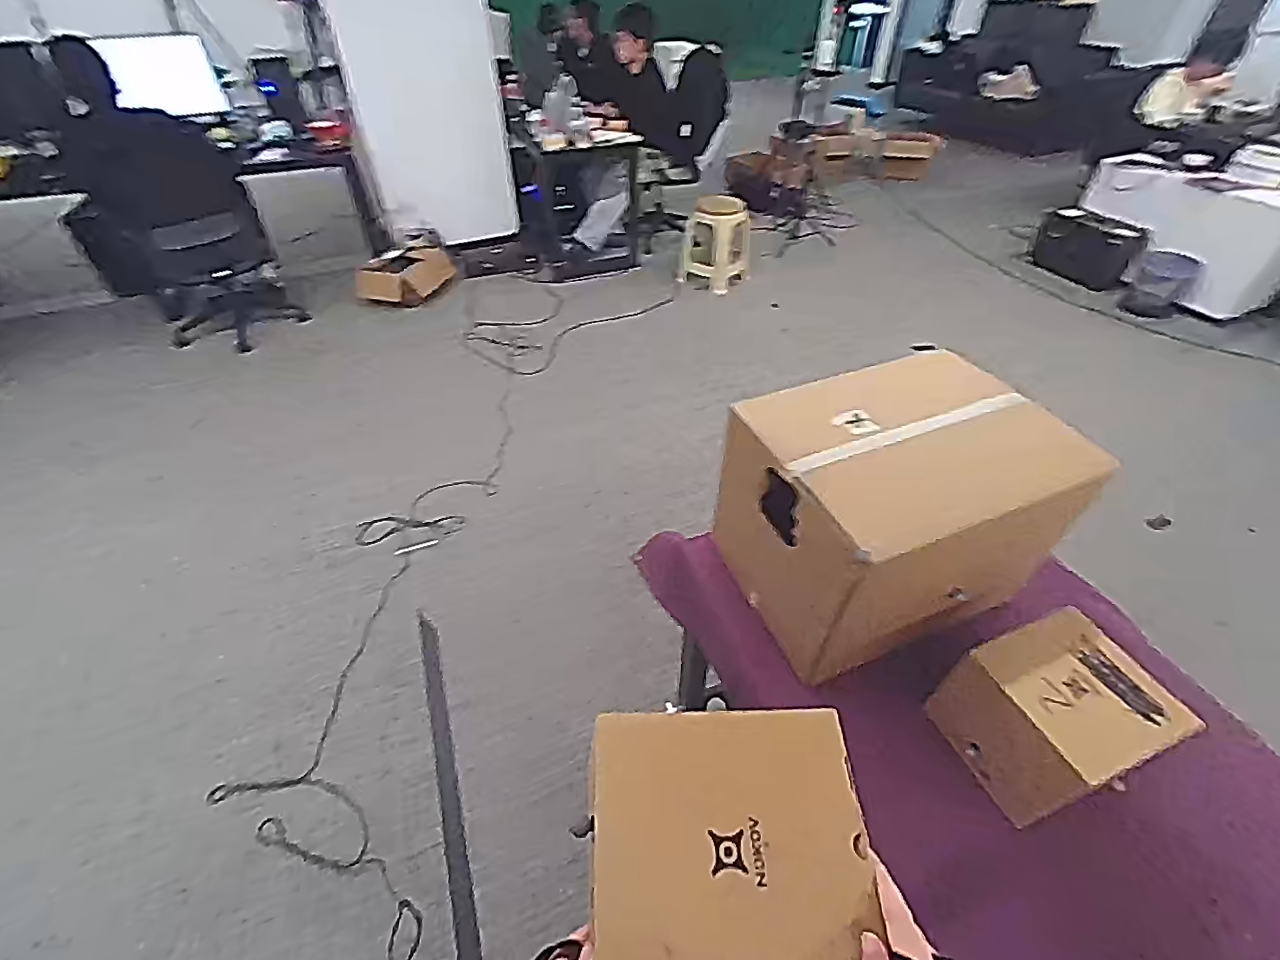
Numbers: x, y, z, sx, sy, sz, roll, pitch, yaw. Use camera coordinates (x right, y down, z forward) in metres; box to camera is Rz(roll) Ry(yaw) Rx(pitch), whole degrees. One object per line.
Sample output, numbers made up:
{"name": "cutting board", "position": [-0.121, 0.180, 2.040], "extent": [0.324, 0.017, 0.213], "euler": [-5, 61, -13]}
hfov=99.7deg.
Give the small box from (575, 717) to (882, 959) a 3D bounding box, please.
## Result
{"name": "small box", "position": [0.042, 0.281, 0.394], "extent": [0.179, 0.176, 0.168], "euler": [1, 53, -7]}
